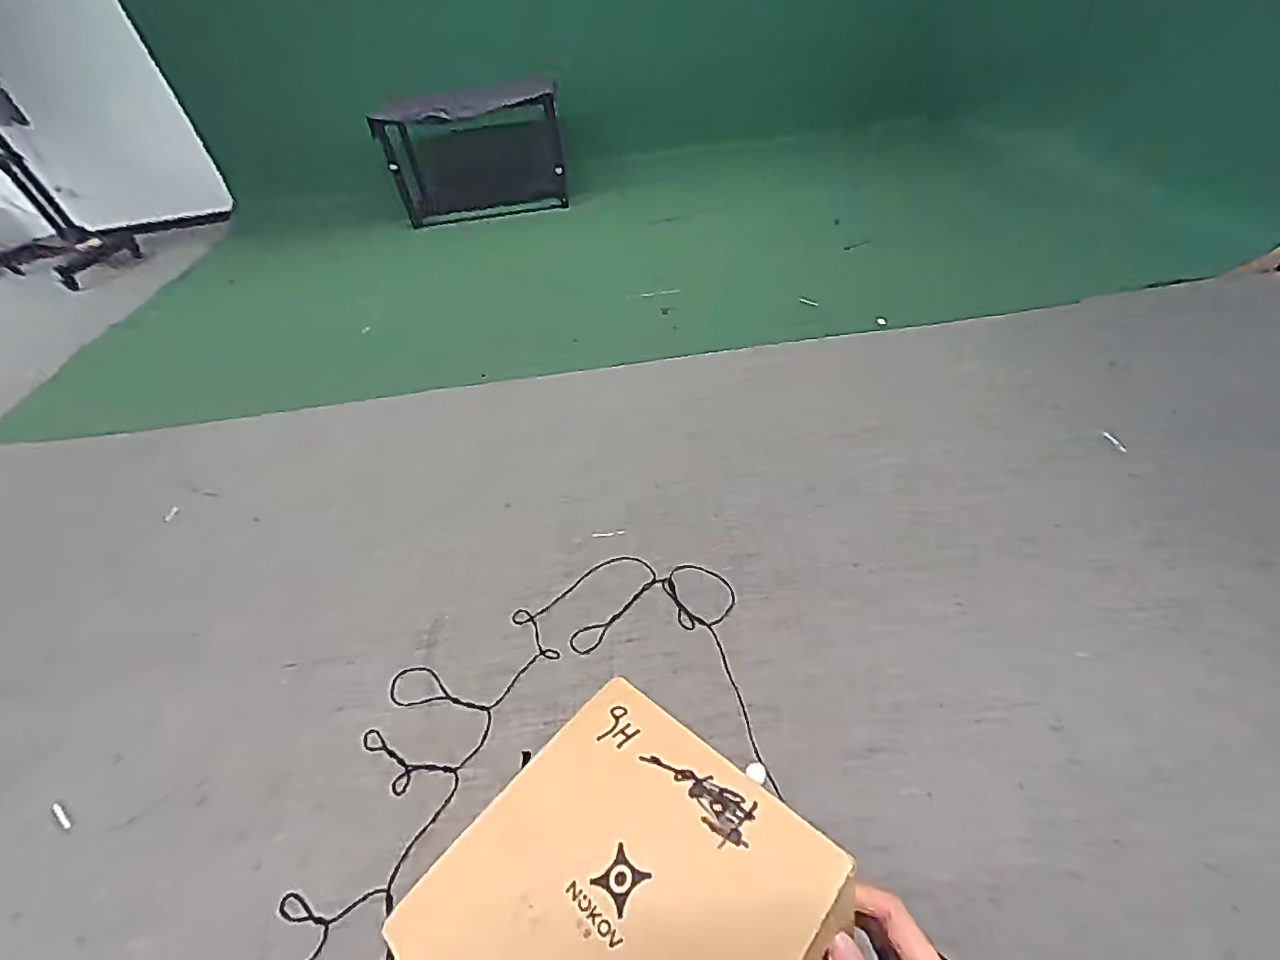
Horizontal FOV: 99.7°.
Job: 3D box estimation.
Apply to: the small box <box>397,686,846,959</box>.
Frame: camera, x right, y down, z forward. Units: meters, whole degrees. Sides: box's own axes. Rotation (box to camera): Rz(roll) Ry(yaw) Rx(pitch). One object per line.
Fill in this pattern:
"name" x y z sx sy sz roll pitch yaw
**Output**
"small box" 0.006 0.270 0.315 0.168 0.176 0.179 23 53 40
